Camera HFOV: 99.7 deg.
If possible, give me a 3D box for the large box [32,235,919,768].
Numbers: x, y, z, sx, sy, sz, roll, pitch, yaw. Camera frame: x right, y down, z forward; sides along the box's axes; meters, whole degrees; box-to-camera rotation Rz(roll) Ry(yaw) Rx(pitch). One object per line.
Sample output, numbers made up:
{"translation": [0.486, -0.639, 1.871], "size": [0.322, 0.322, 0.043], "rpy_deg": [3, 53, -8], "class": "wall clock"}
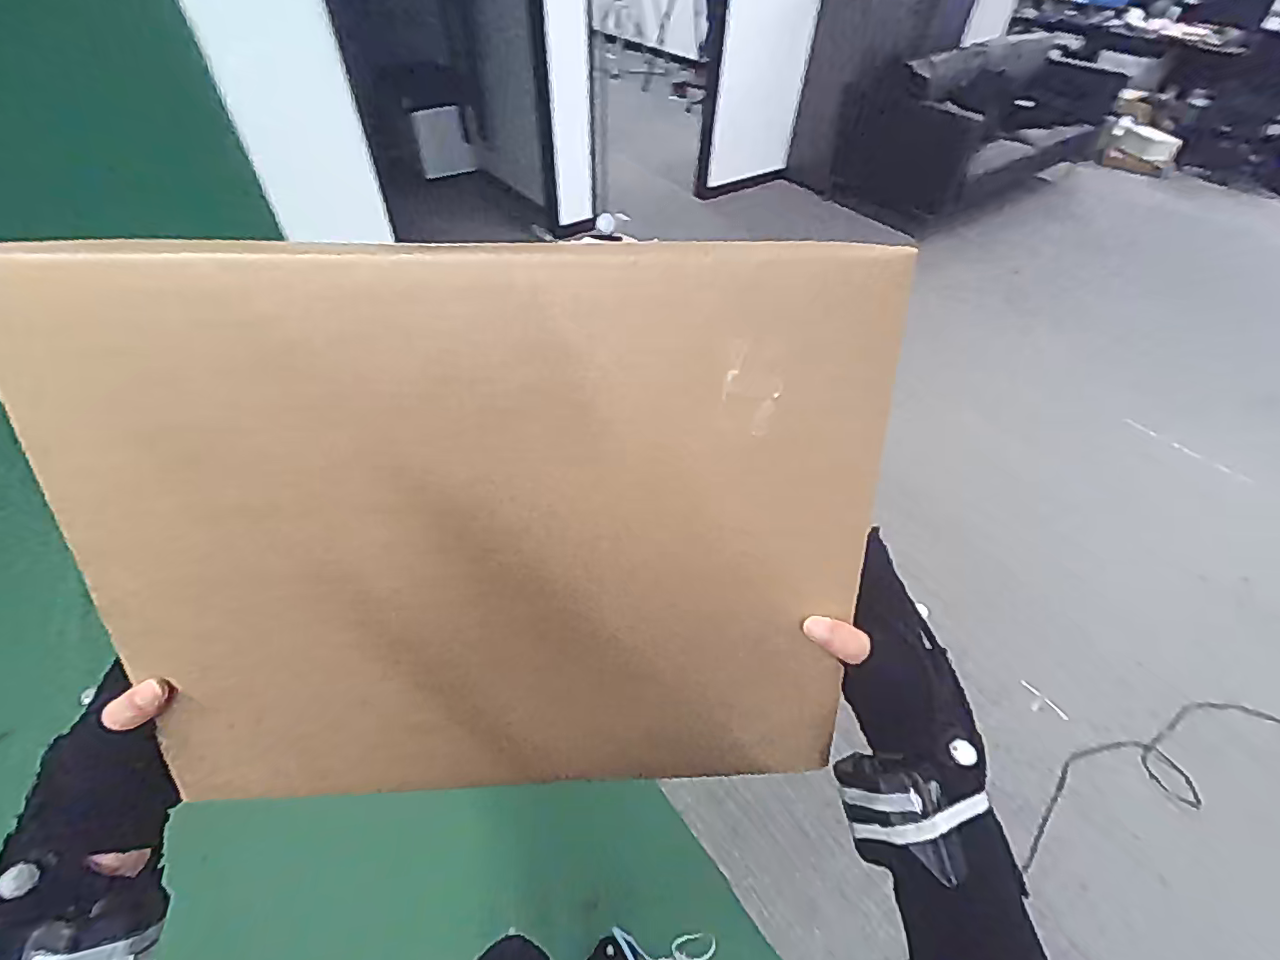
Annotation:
{"translation": [-0.078, -0.011, 0.433], "size": [0.408, 0.320, 0.320], "rpy_deg": [1, 22, -3], "class": "large box"}
